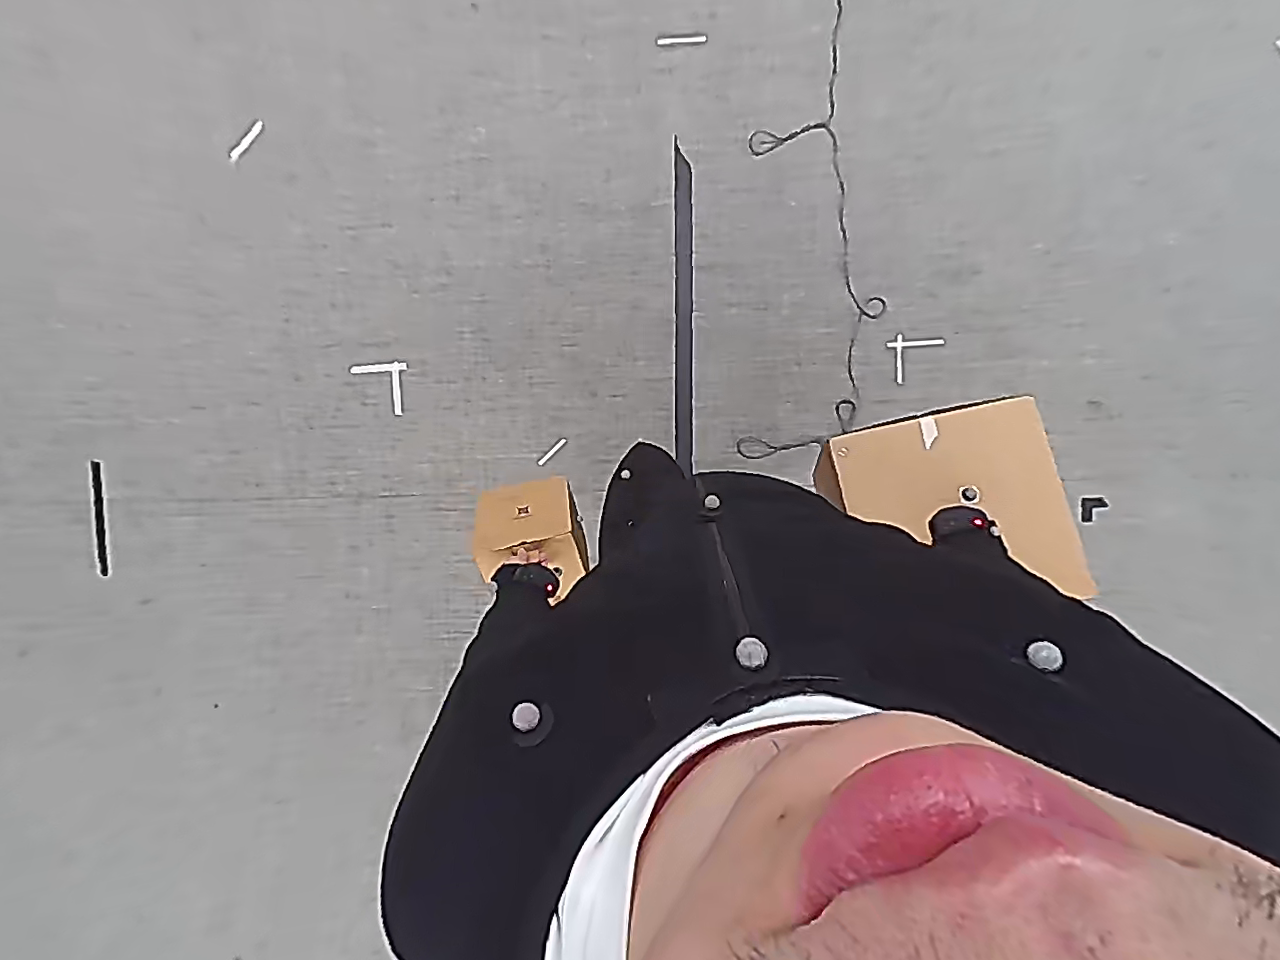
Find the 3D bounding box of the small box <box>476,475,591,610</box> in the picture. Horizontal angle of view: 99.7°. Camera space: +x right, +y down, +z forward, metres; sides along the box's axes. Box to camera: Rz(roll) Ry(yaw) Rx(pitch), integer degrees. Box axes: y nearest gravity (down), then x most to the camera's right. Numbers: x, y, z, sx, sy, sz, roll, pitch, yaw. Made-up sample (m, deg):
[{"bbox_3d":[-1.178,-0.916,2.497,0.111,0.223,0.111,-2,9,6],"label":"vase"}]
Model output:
[{"bbox_3d":[-0.192,0.121,1.004,0.168,0.179,0.176,-13,125,-3],"label":"small box"}]
